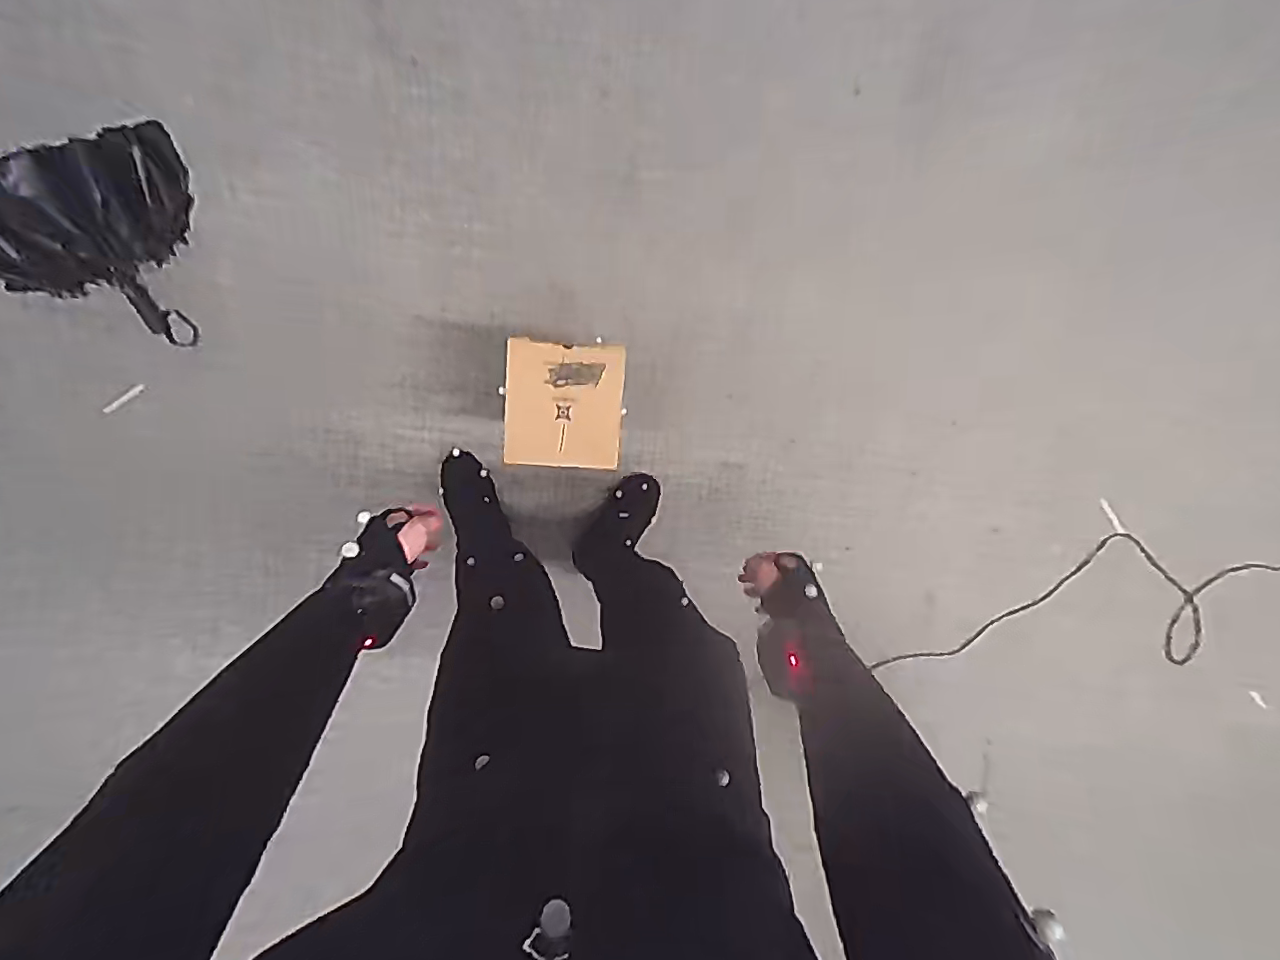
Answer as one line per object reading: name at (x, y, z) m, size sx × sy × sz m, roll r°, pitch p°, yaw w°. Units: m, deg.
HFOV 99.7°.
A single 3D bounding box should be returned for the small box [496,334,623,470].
small box at (-0.122, -0.122, 0.808) m, size 0.168 × 0.176 × 0.179 m, roll 3°, pitch 105°, yaw -8°
